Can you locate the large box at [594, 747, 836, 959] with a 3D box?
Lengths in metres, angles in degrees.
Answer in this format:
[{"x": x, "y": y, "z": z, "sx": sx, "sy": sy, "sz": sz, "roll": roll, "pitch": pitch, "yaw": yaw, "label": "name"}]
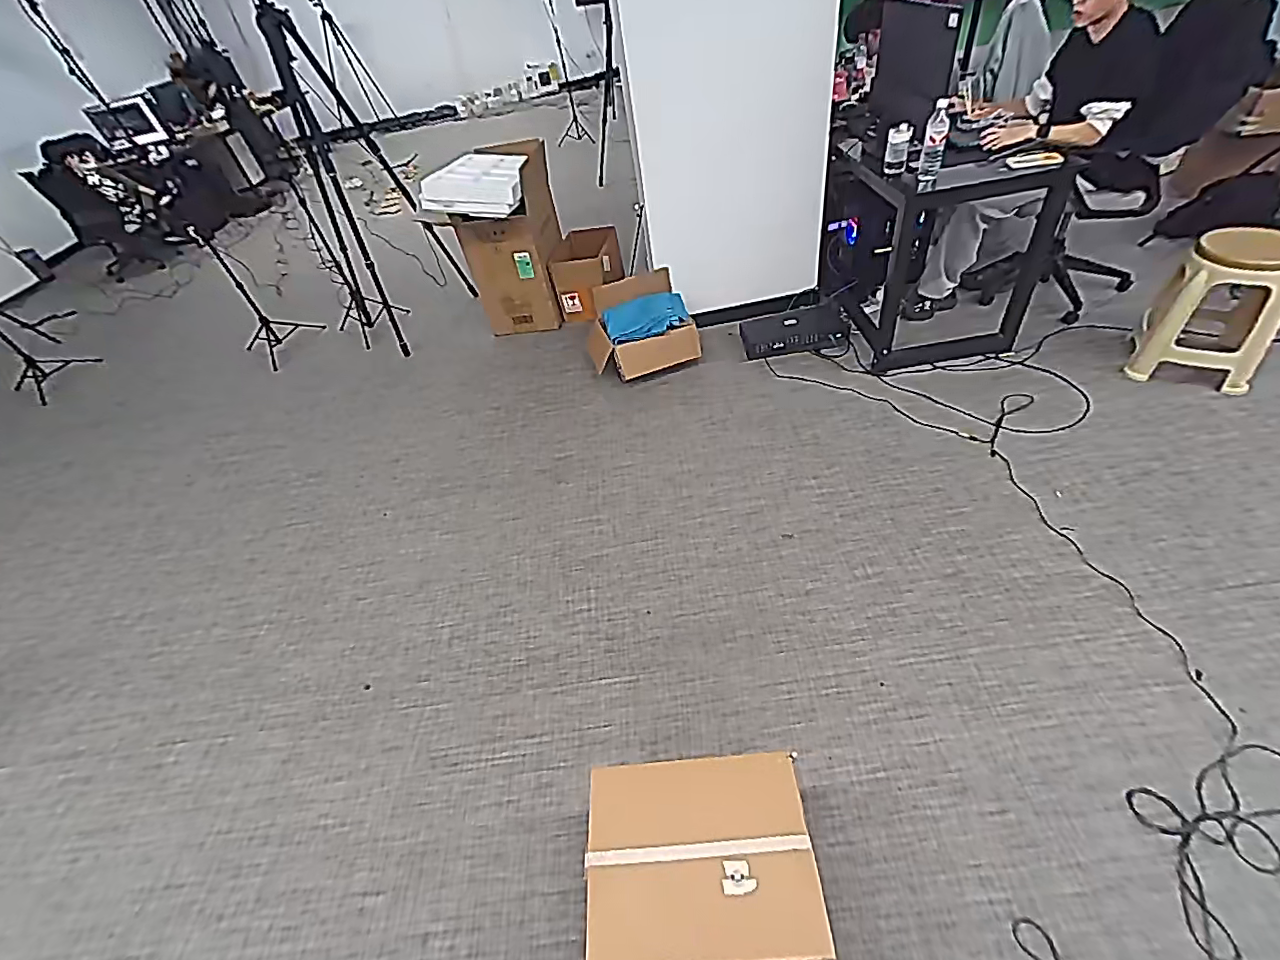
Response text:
[{"x": 0.132, "y": 0.770, "z": 1.081, "sx": 0.408, "sy": 0.320, "sz": 0.320, "roll": -7, "pitch": 44, "yaw": 4, "label": "large box"}]
